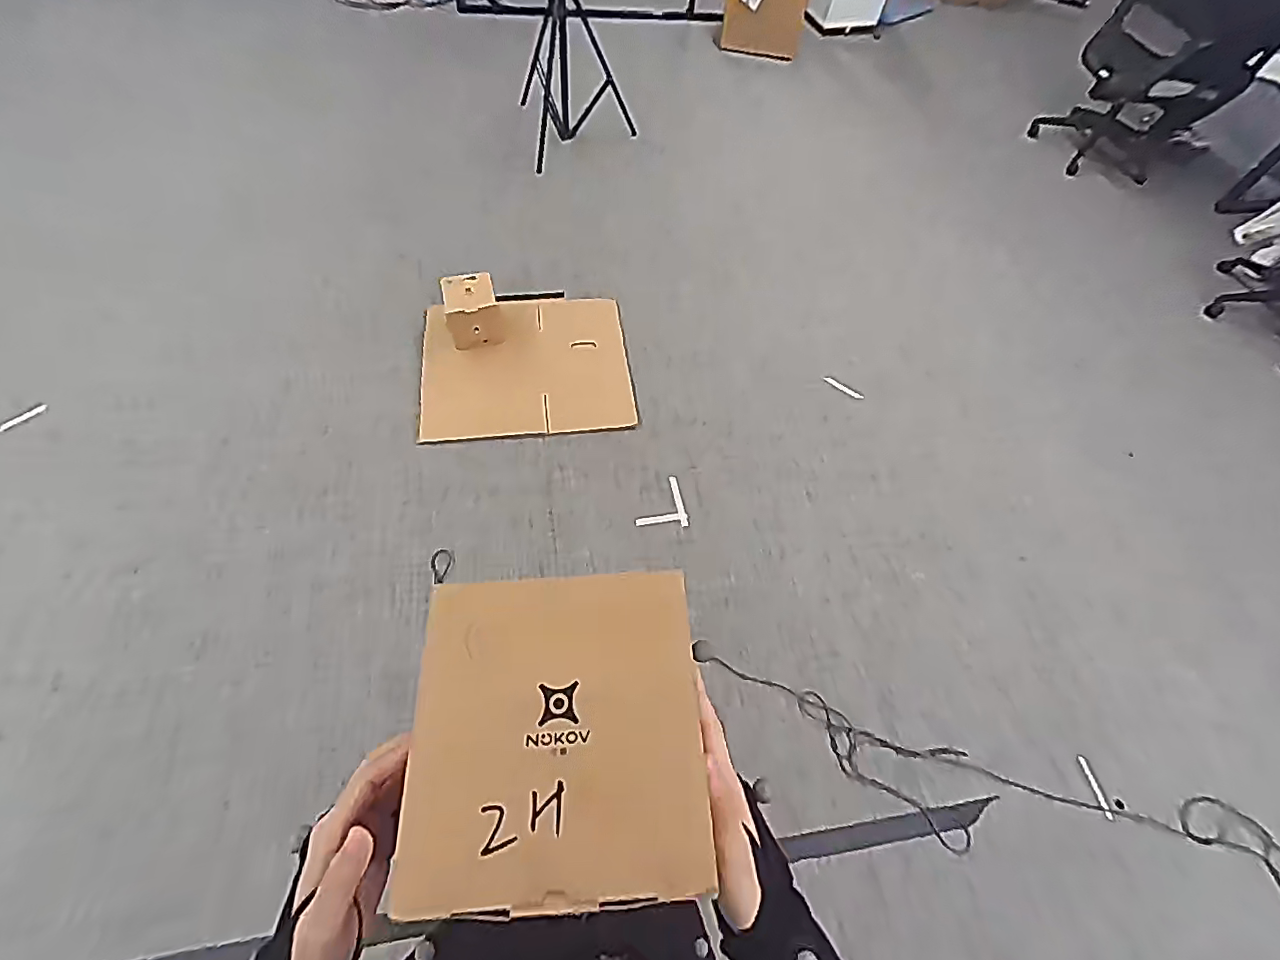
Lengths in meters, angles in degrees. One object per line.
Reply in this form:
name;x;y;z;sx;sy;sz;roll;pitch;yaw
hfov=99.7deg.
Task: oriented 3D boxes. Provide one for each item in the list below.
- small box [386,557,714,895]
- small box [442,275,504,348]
small box;-0.047;0.169;0.377;0.168;0.176;0.179;-3;58;0
small box;-0.571;-0.572;1.864;0.168;0.176;0.179;-12;62;-12
